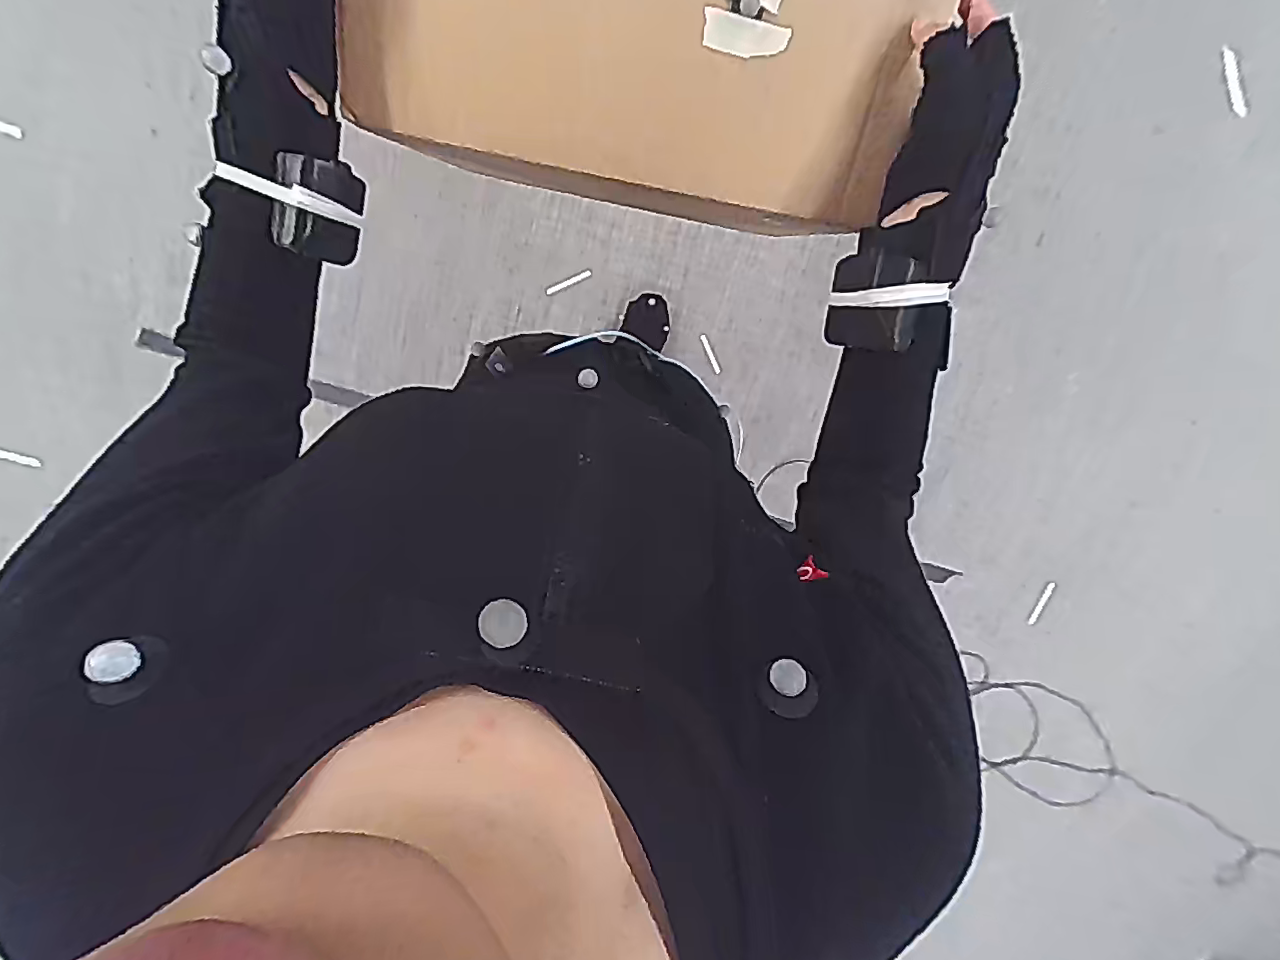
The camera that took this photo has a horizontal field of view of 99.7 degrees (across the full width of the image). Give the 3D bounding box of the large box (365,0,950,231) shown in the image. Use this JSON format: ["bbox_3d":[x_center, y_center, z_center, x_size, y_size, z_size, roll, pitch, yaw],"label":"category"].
[{"bbox_3d":[0.018,-0.431,0.490,0.408,0.320,0.320,10,114,-5],"label":"large box"}]
